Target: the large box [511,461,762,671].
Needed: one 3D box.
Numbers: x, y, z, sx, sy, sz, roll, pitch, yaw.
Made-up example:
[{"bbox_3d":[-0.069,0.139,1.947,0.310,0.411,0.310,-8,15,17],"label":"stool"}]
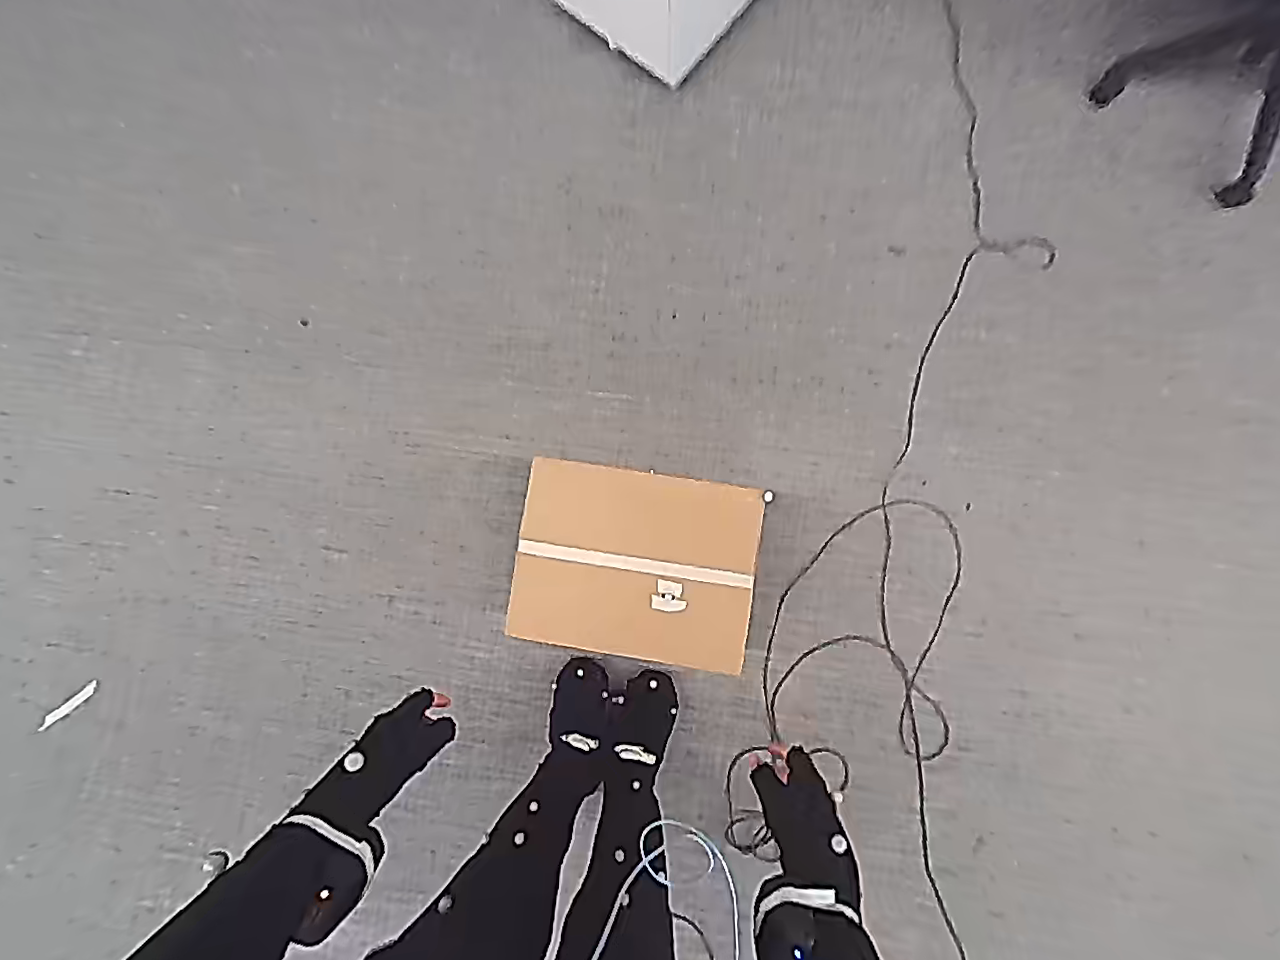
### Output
[{"bbox_3d":[-0.001,0.158,1.071,0.408,0.320,0.320,9,86,3],"label":"large box"}]
